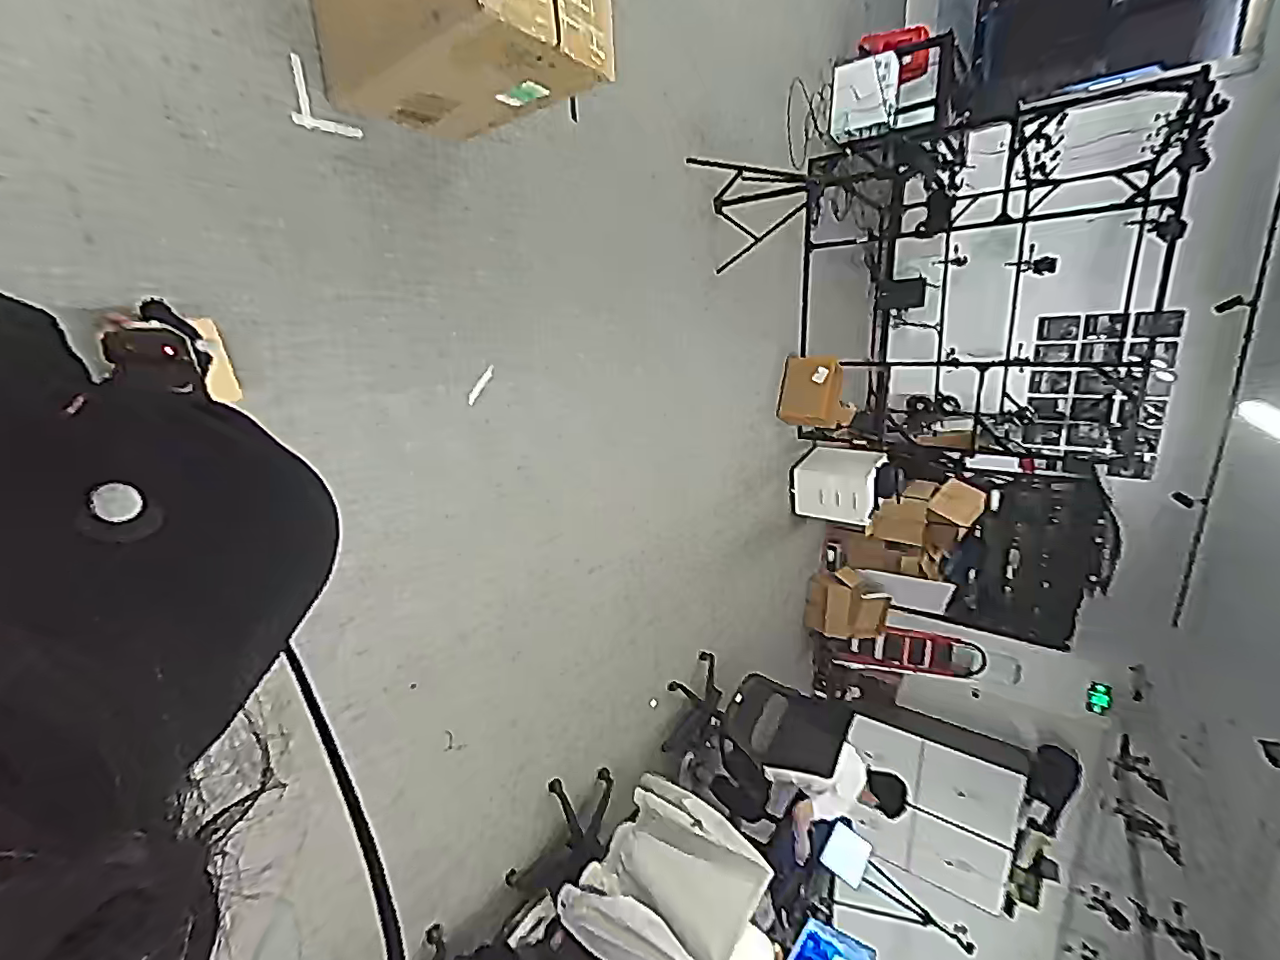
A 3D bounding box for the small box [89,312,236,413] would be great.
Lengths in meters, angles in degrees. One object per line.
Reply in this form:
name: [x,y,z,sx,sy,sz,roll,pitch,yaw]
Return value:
small box: [-0.989,-0.249,1.123,0.168,0.176,0.179,-31,122,-47]
